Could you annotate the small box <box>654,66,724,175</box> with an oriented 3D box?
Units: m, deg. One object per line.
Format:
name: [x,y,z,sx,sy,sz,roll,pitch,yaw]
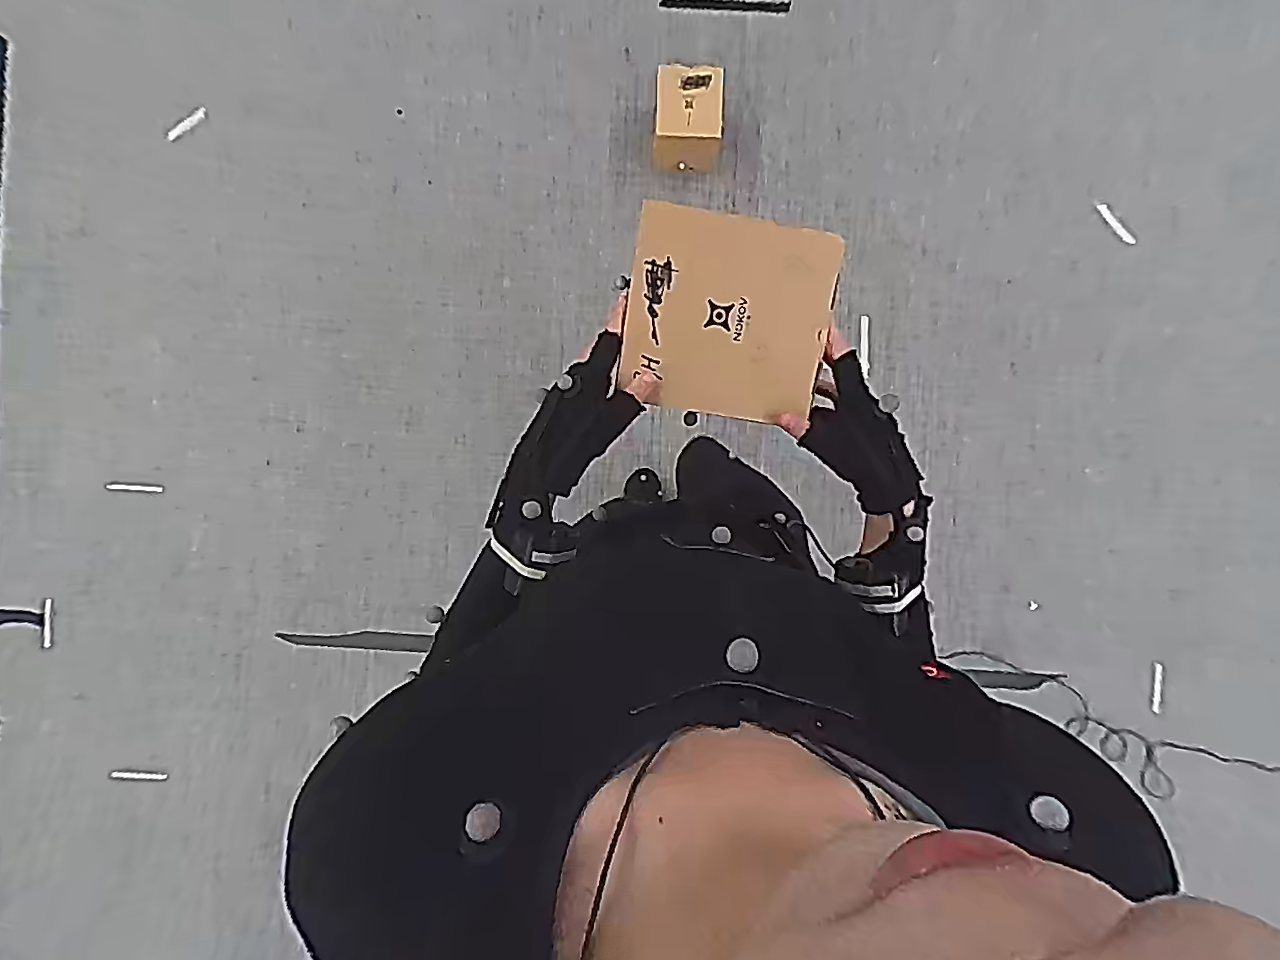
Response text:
small box: [0.124,-0.942,1.425,0.168,0.176,0.179,2,92,0]

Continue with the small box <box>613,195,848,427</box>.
small box: [0.072,-0.152,0.534,0.179,0.176,0.168,9,98,-5]
